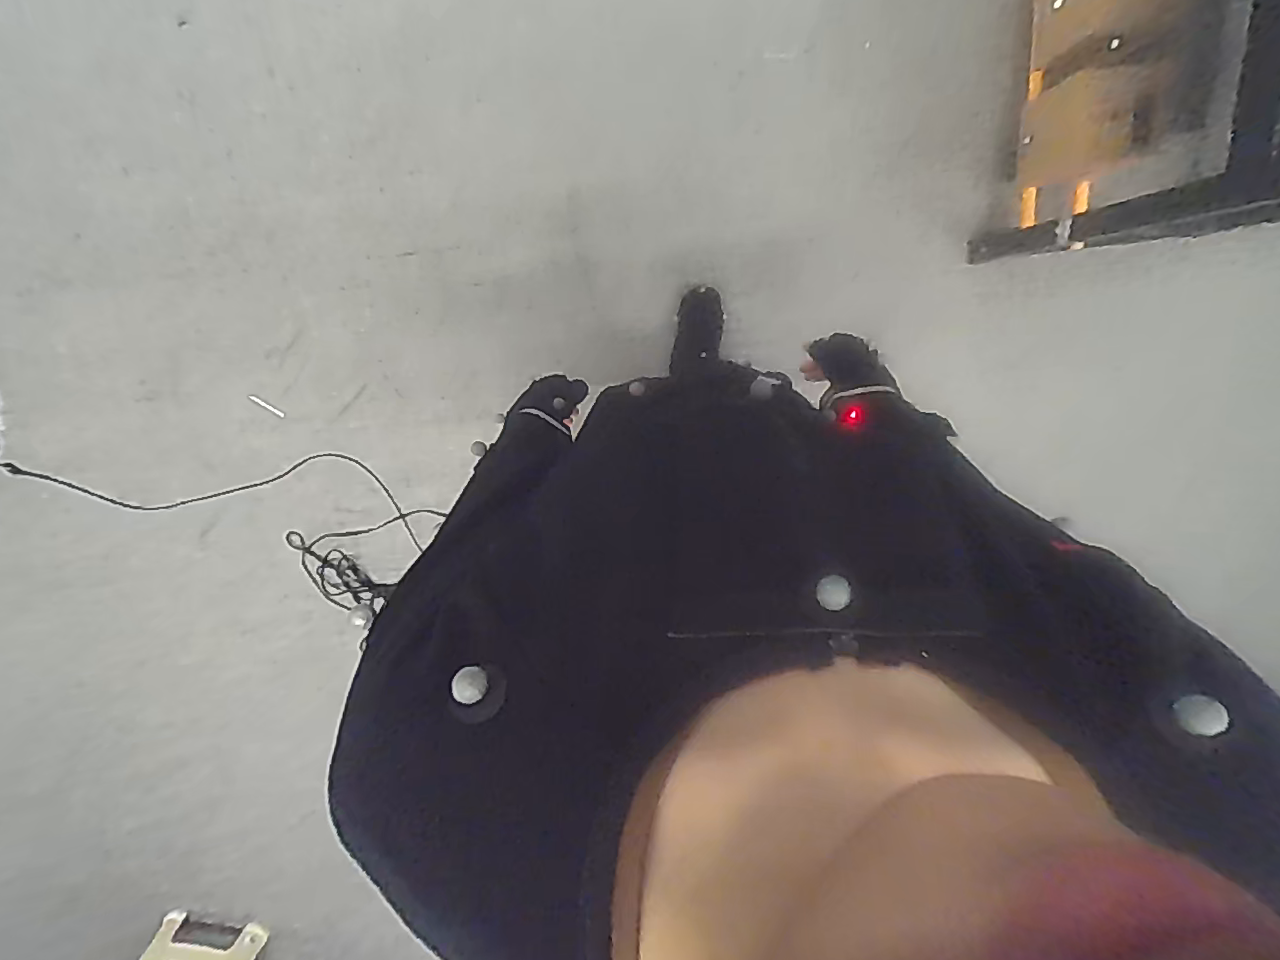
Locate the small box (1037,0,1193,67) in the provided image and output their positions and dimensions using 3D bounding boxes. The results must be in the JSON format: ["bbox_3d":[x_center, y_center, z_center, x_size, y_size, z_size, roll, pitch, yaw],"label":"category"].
[{"bbox_3d":[0.918,-0.939,1.051,0.179,0.176,0.168,-6,107,2],"label":"small box"}]
